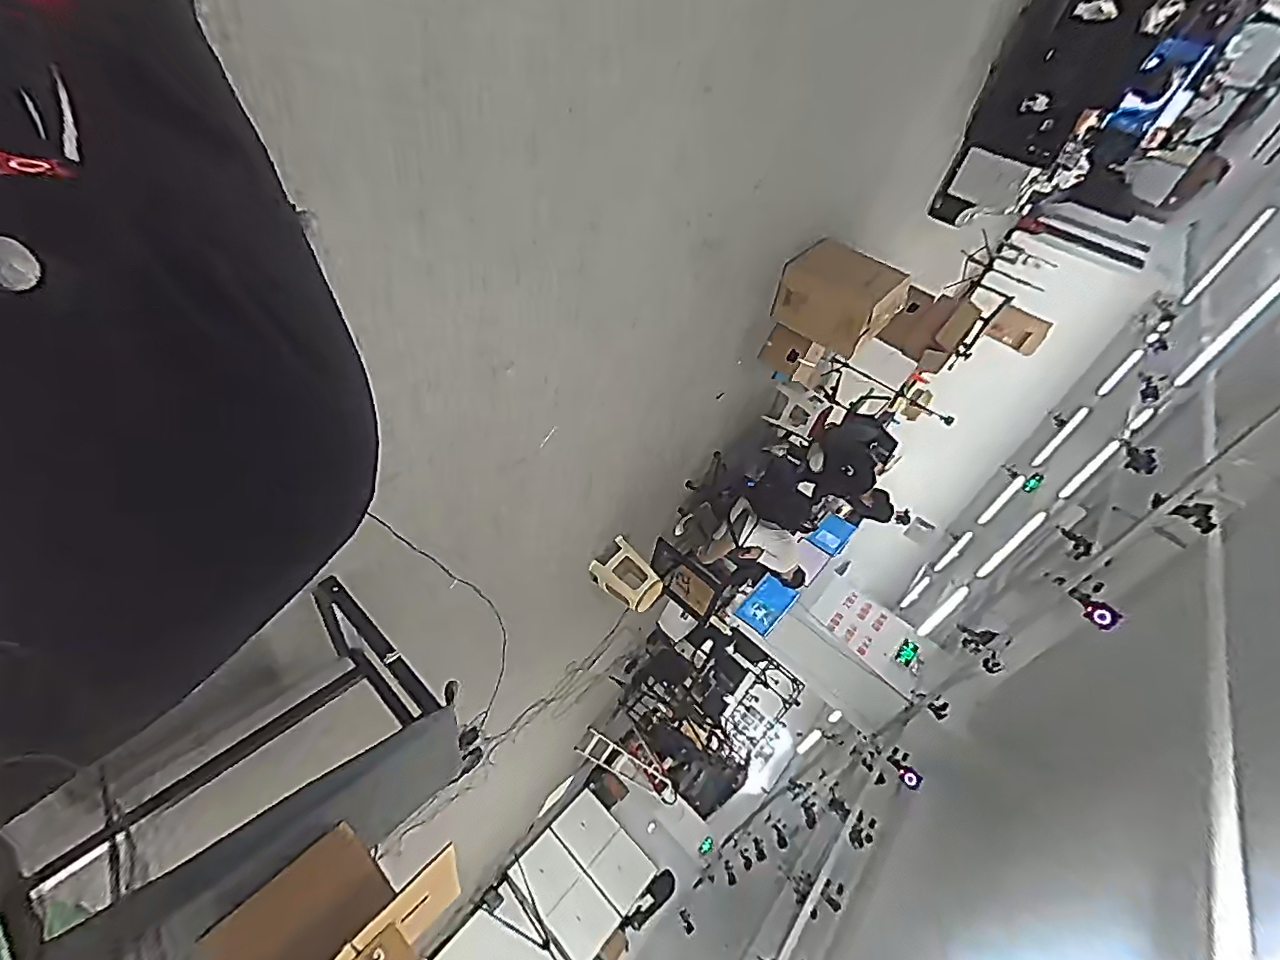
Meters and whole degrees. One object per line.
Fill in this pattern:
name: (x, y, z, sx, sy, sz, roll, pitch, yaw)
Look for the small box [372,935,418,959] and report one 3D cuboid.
small box: (-0.655, 1.355, 1.424, 0.168, 0.176, 0.179, -34, 148, -40)
